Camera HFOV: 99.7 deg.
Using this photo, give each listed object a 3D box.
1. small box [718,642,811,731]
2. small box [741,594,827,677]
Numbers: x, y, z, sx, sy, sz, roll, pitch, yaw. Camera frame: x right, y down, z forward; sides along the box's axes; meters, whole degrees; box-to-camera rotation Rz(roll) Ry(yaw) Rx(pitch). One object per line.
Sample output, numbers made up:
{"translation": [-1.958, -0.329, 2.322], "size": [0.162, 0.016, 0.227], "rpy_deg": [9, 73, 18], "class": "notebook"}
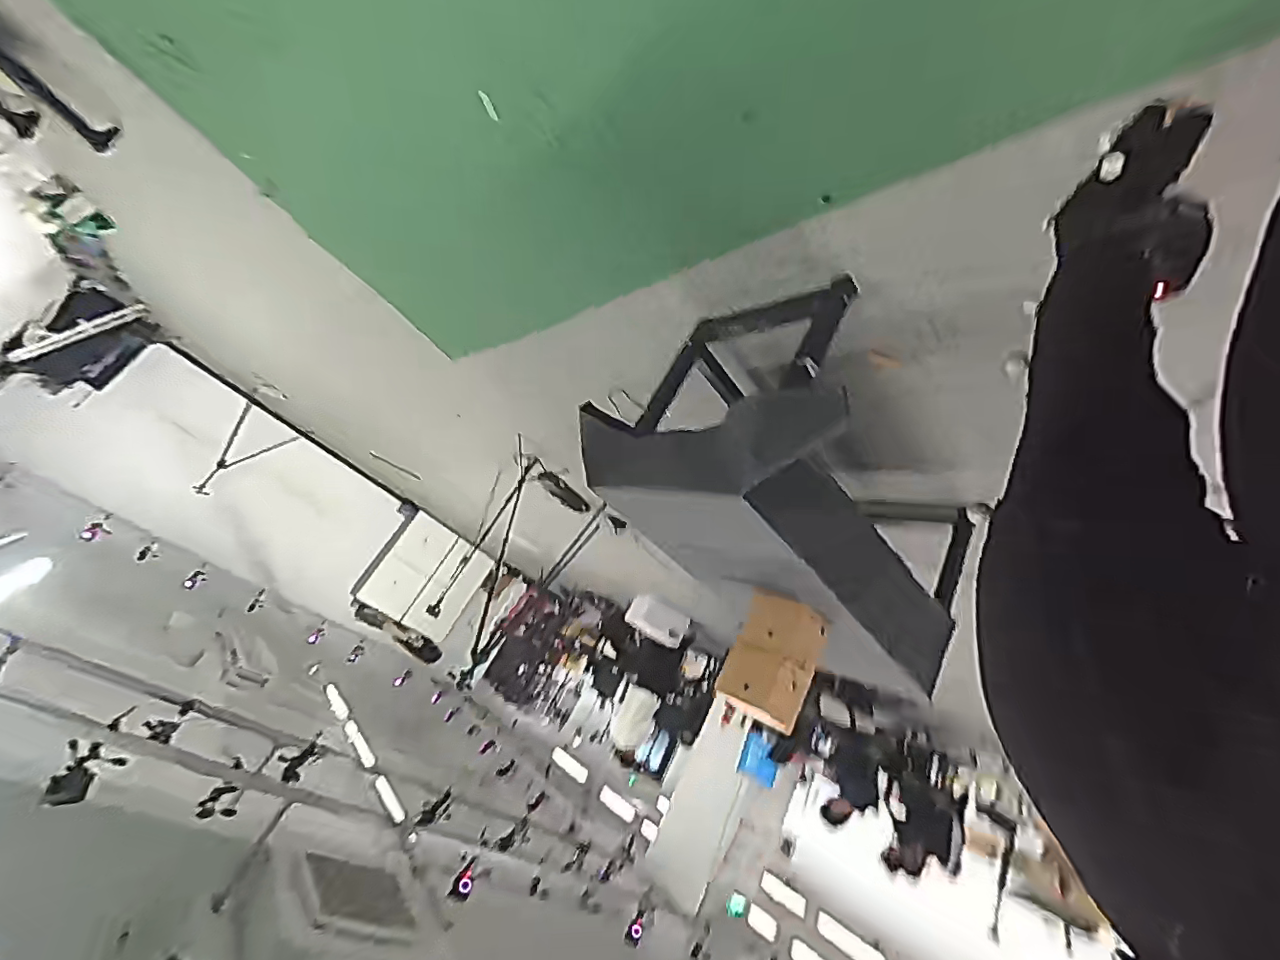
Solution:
{"translation": [0.368, 0.595, 1.581], "size": [0.179, 0.176, 0.168], "rpy_deg": [2, 144, 51], "class": "small box"}
{"translation": [0.446, 0.466, 1.640], "size": [0.168, 0.176, 0.179], "rpy_deg": [44, 156, -30], "class": "small box"}
